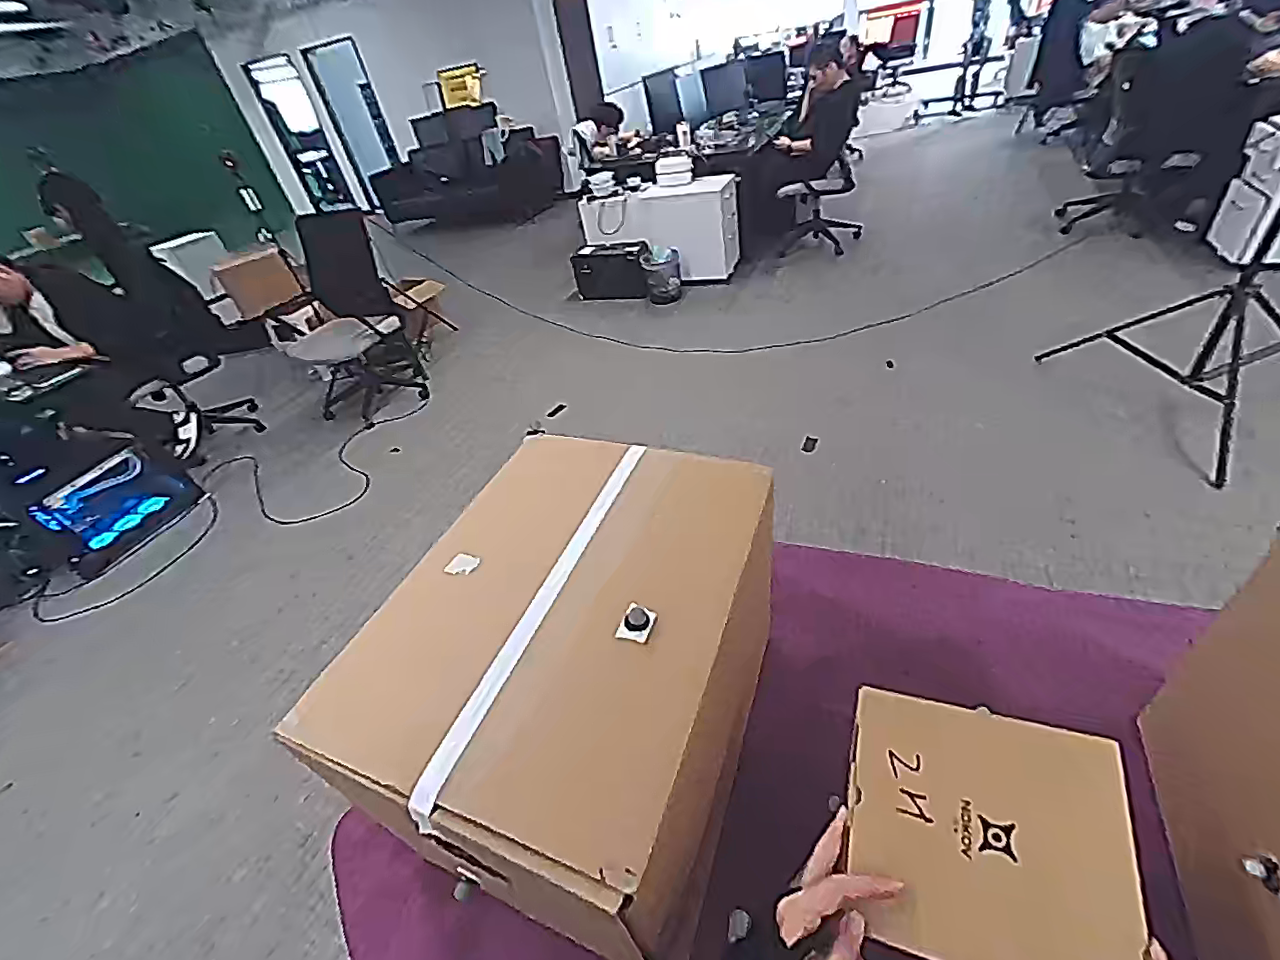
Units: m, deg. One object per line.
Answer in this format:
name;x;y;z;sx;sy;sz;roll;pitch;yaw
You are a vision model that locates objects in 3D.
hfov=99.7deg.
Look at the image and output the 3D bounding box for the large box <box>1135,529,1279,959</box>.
large box;0.592;0.291;0.322;0.320;0.320;0.408;7;41;22
